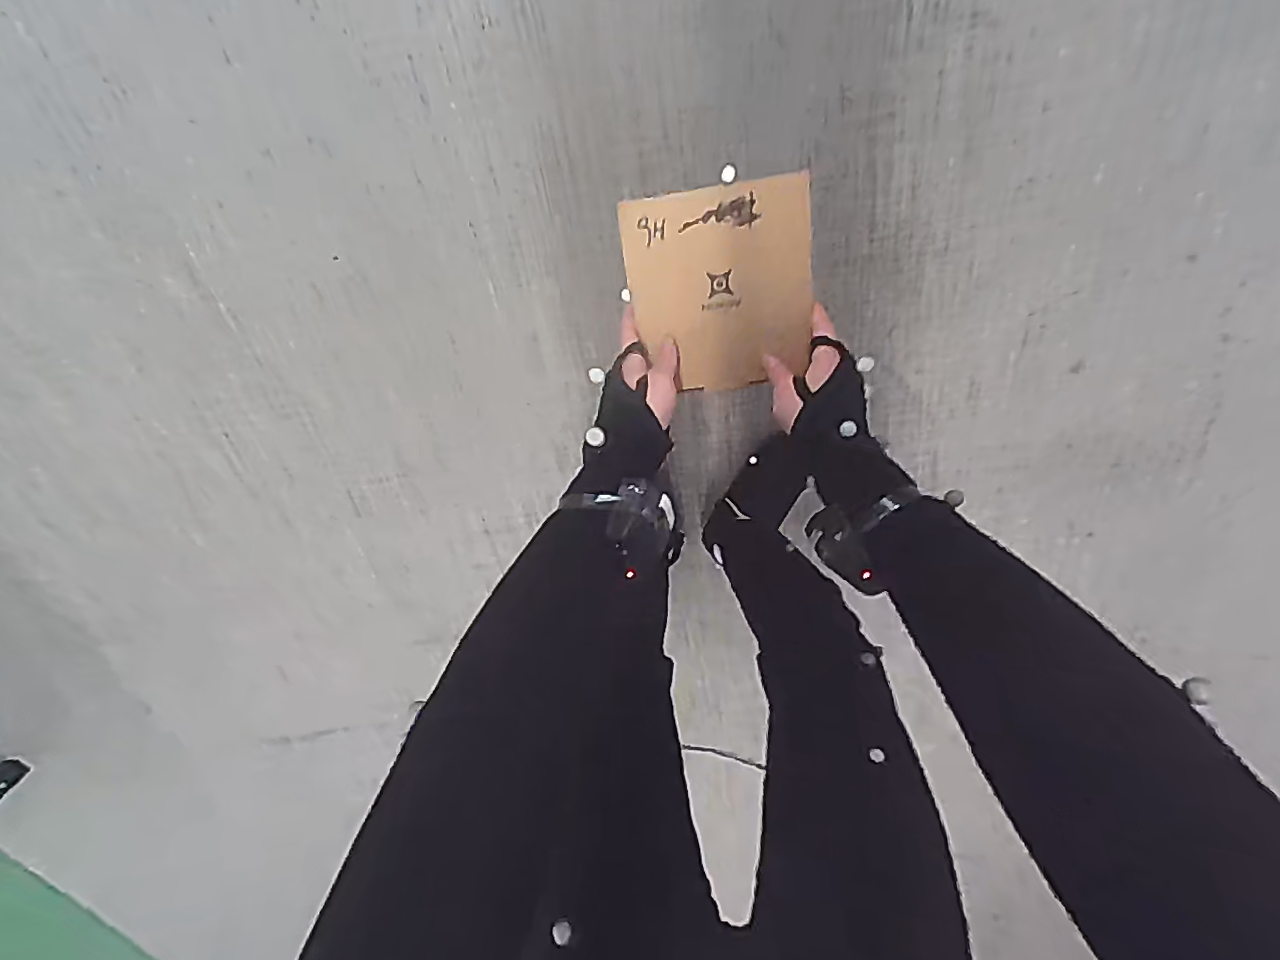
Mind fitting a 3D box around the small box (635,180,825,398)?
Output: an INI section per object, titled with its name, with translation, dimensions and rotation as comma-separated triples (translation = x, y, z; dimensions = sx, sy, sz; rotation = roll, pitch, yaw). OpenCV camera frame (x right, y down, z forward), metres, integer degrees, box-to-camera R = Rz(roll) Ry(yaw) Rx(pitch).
[small box]
translation = 0.093, -0.203, 0.577
dimensions = 0.168, 0.176, 0.179
rotation = -8, 114, 6
